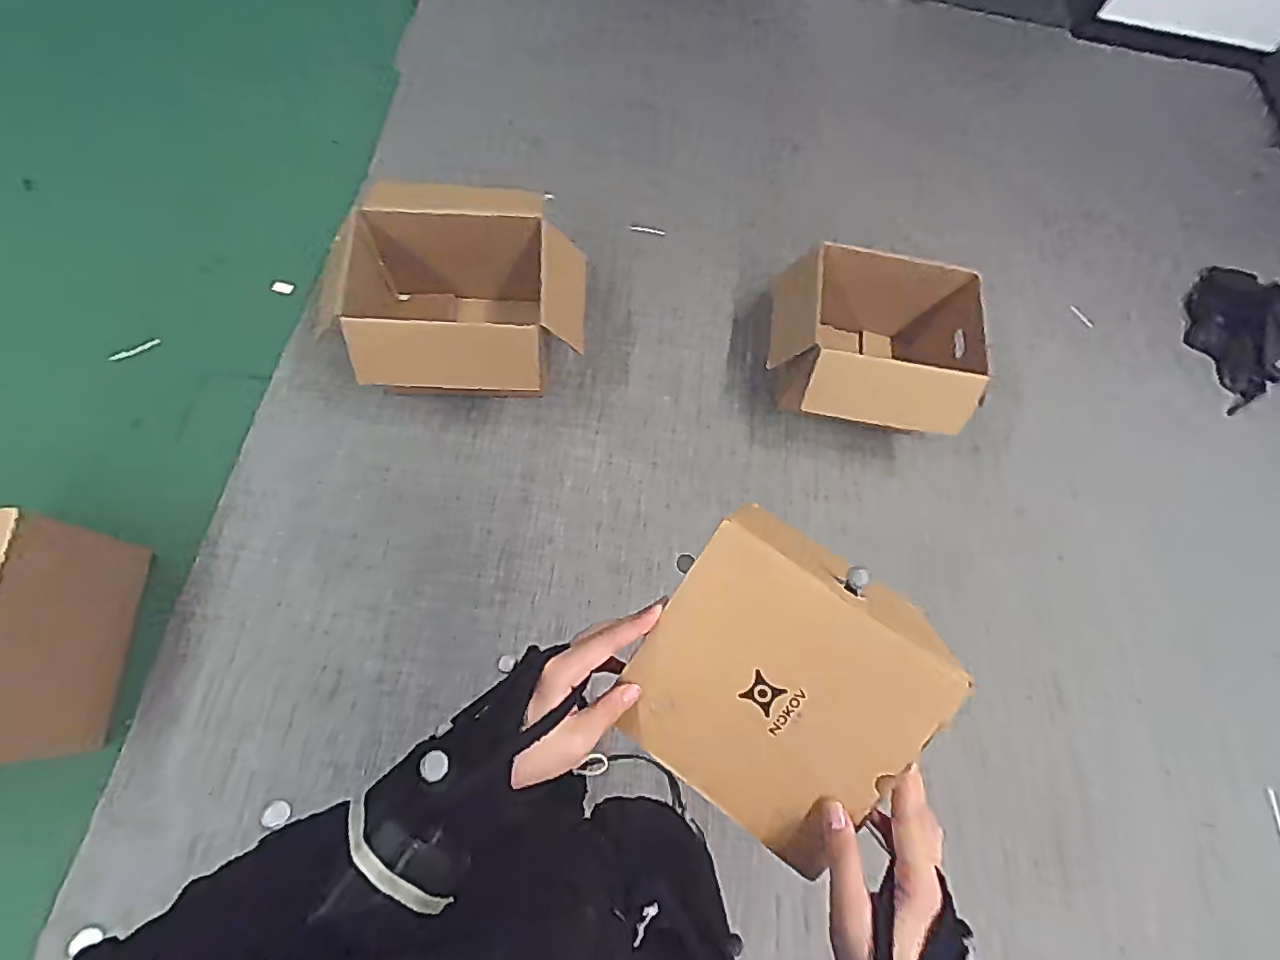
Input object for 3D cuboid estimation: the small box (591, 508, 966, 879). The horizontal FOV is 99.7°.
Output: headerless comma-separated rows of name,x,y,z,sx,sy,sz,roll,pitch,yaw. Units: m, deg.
small box,0.097,0.134,0.417,0.179,0.176,0.168,34,99,12
